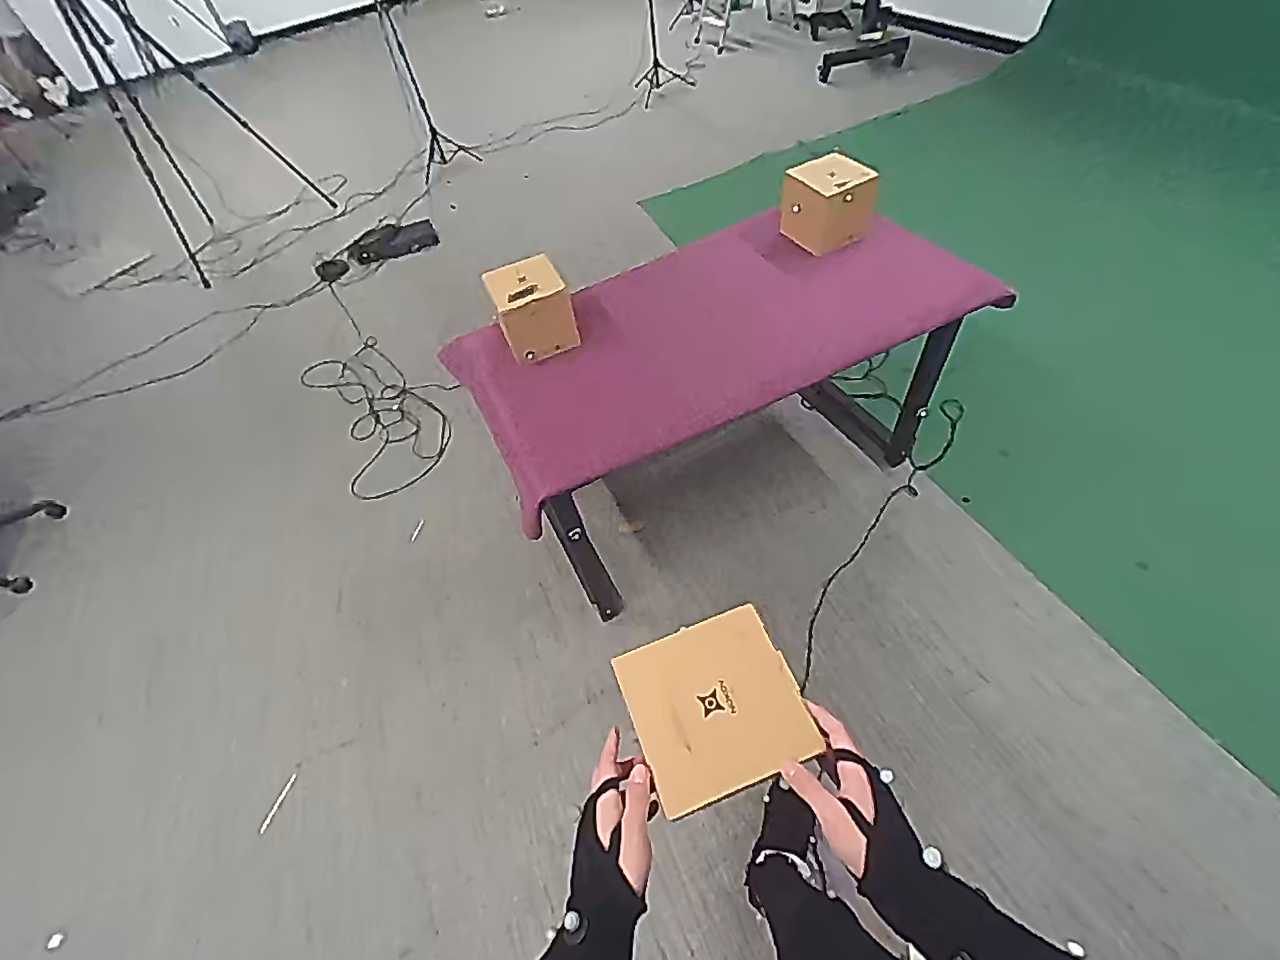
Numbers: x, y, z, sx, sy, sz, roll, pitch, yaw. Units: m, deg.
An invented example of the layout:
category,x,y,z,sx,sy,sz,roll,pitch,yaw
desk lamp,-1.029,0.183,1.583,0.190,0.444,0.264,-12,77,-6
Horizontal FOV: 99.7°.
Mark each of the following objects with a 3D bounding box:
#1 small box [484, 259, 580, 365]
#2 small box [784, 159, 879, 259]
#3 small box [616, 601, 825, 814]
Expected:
category,x,y,z,sx,sy,sz,roll,pitch,yaw
small box,-0.262,-0.409,1.340,0.168,0.176,0.179,-23,54,-9
small box,0.505,-0.729,1.461,0.168,0.176,0.179,-27,53,-10
small box,0.085,0.270,0.635,0.179,0.176,0.168,-20,57,-6
